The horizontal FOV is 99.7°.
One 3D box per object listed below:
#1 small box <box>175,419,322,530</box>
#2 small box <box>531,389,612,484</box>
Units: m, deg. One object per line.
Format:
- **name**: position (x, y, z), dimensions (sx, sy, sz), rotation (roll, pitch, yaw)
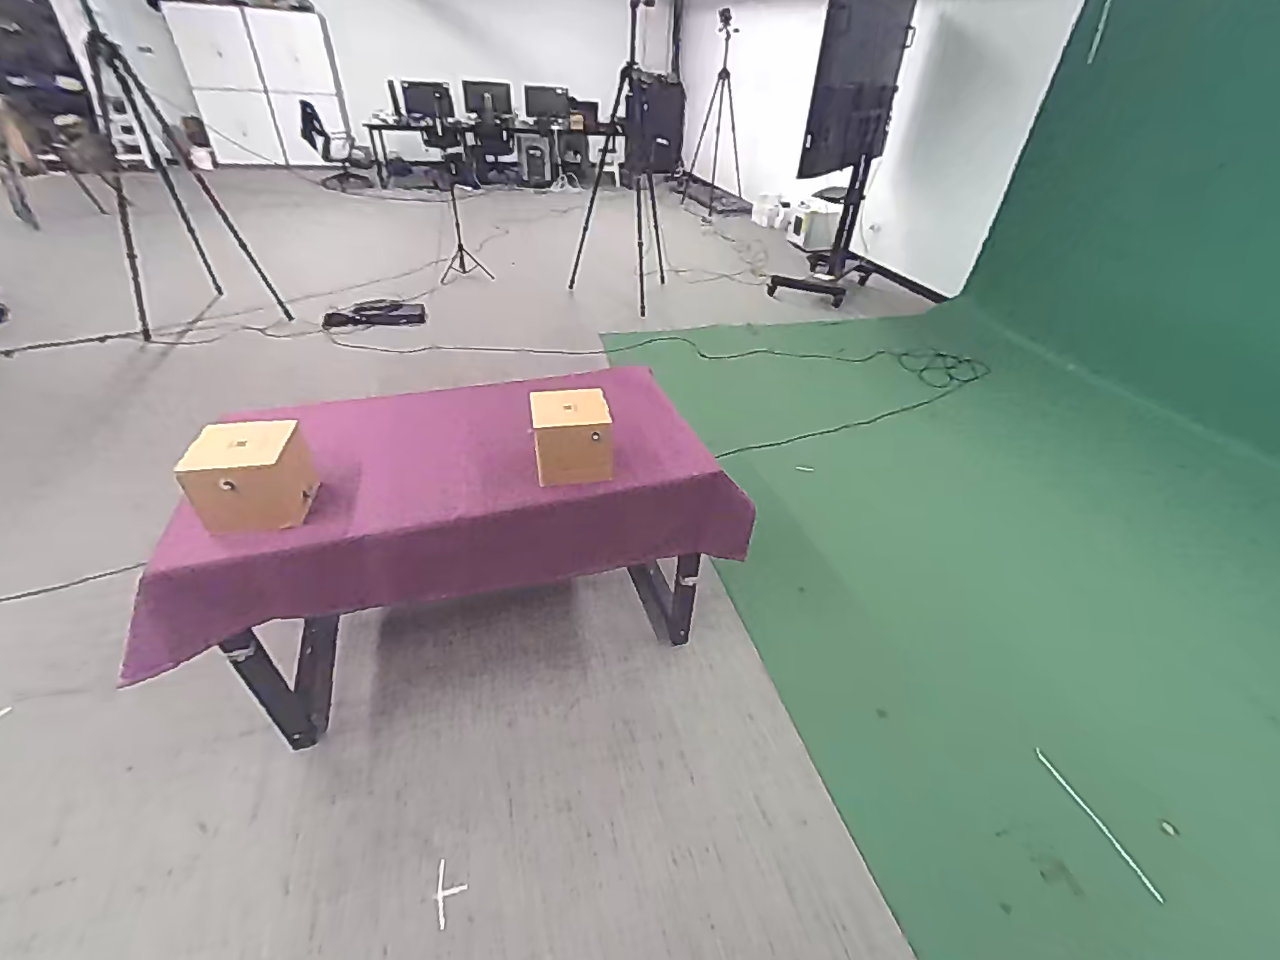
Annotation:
- **small box**: position (-0.801, -0.010, 1.130), dimensions (0.179, 0.176, 0.168), rotation (-4, 39, -11)
- **small box**: position (-0.166, -0.103, 1.302), dimensions (0.179, 0.176, 0.168), rotation (-5, 38, -11)
